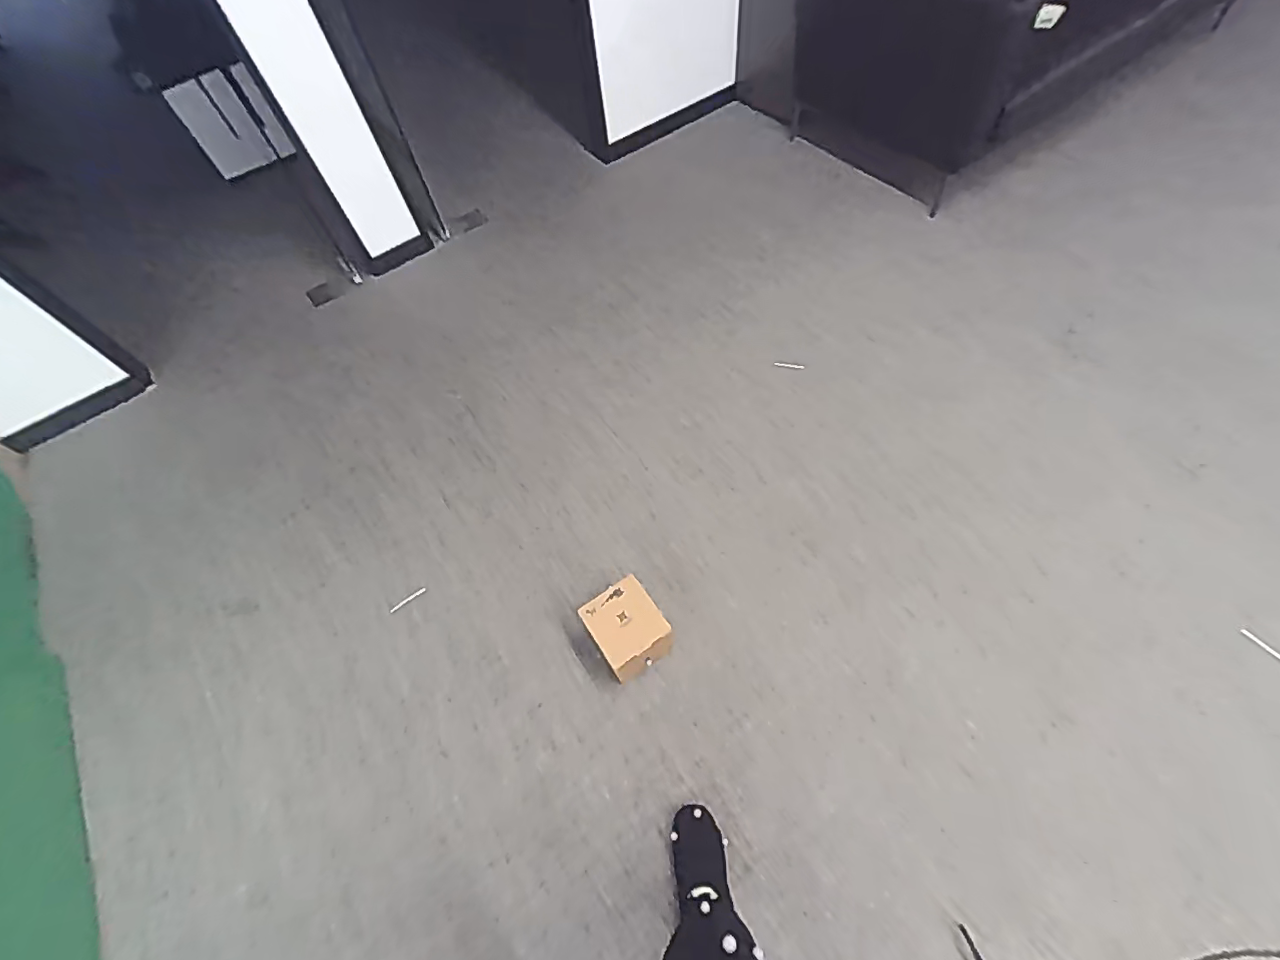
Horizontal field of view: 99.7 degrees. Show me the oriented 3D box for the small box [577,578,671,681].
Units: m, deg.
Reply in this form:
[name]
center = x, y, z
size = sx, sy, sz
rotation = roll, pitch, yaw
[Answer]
[small box]
center = -0.033, 0.382, 1.354
size = 0.168, 0.176, 0.179
rotation = -31, 61, -13
